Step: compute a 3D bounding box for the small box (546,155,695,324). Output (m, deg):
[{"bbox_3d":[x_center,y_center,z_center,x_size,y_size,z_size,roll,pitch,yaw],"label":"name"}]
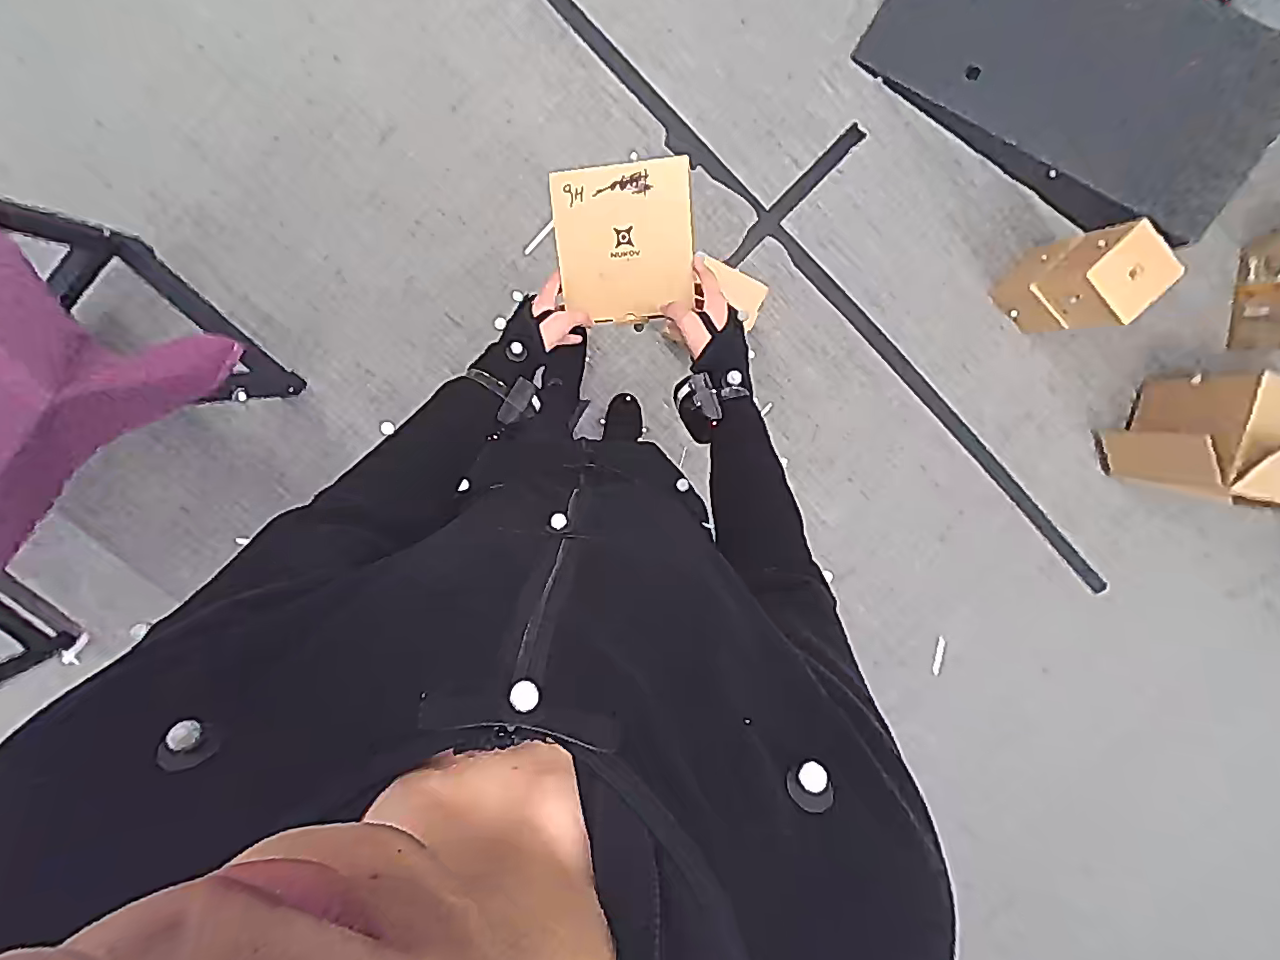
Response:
[{"bbox_3d":[-0.014,-0.311,0.724,0.168,0.176,0.179,-3,108,7],"label":"small box"}]
